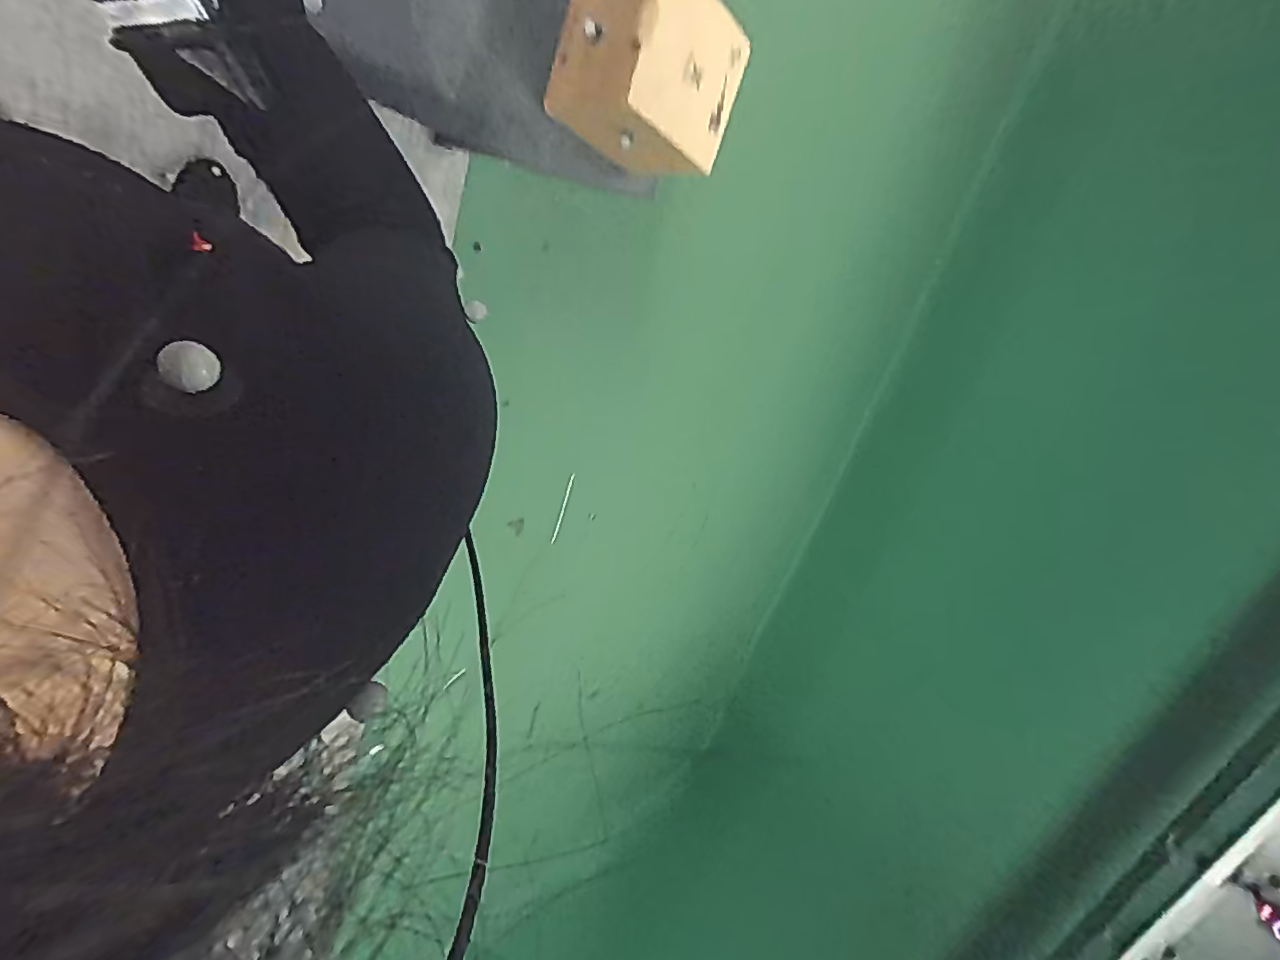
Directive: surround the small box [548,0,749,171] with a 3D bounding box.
[{"bbox_3d":[0.006,-0.529,0.710,0.179,0.176,0.168,5,108,-48],"label":"small box"}]
